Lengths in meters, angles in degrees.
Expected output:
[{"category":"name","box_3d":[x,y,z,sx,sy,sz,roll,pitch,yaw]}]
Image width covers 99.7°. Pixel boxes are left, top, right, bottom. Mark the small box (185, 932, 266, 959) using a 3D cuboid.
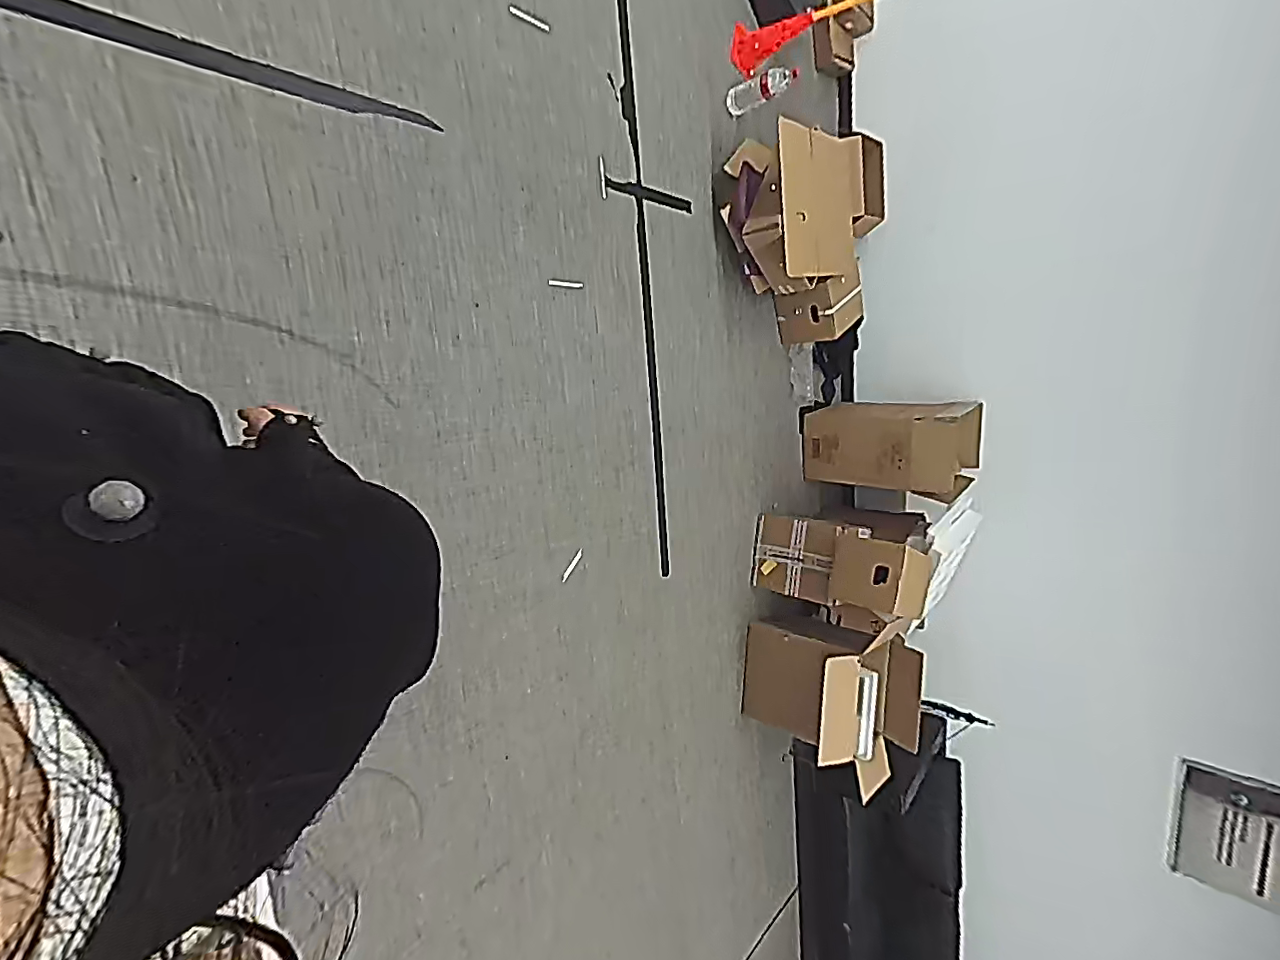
[{"category":"small box","box_3d":[-0.581,0.753,0.709,0.168,0.176,0.179,-11,102,-46]}]
